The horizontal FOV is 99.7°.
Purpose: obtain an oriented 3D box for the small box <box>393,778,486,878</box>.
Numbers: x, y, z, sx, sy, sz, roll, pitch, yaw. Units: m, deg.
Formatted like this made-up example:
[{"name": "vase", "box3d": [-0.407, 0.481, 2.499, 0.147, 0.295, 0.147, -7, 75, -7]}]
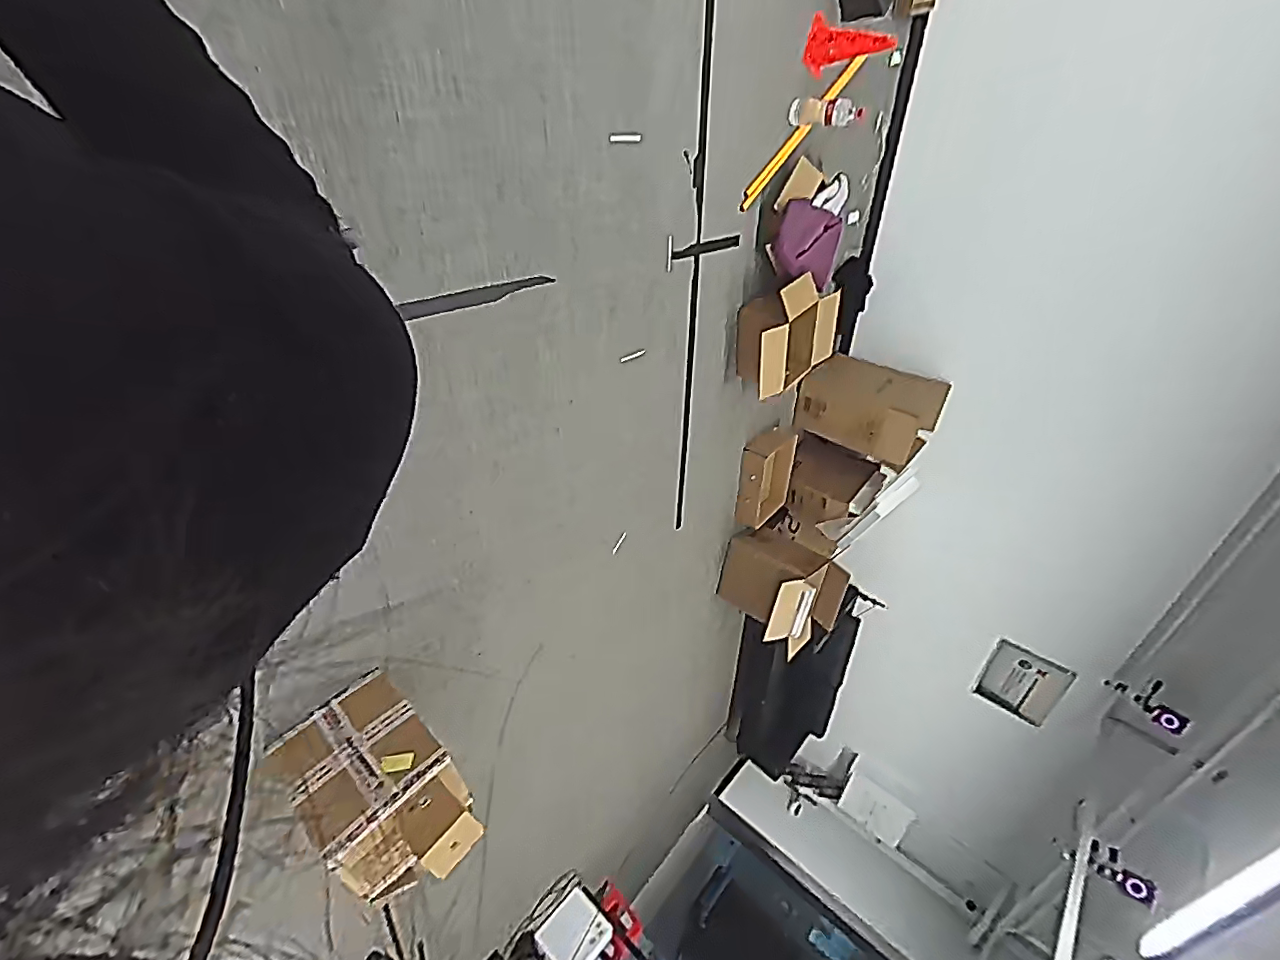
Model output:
[{"name": "small box", "box3d": [-0.602, 1.043, 1.629, 0.168, 0.176, 0.179, -43, 137, -31]}]
